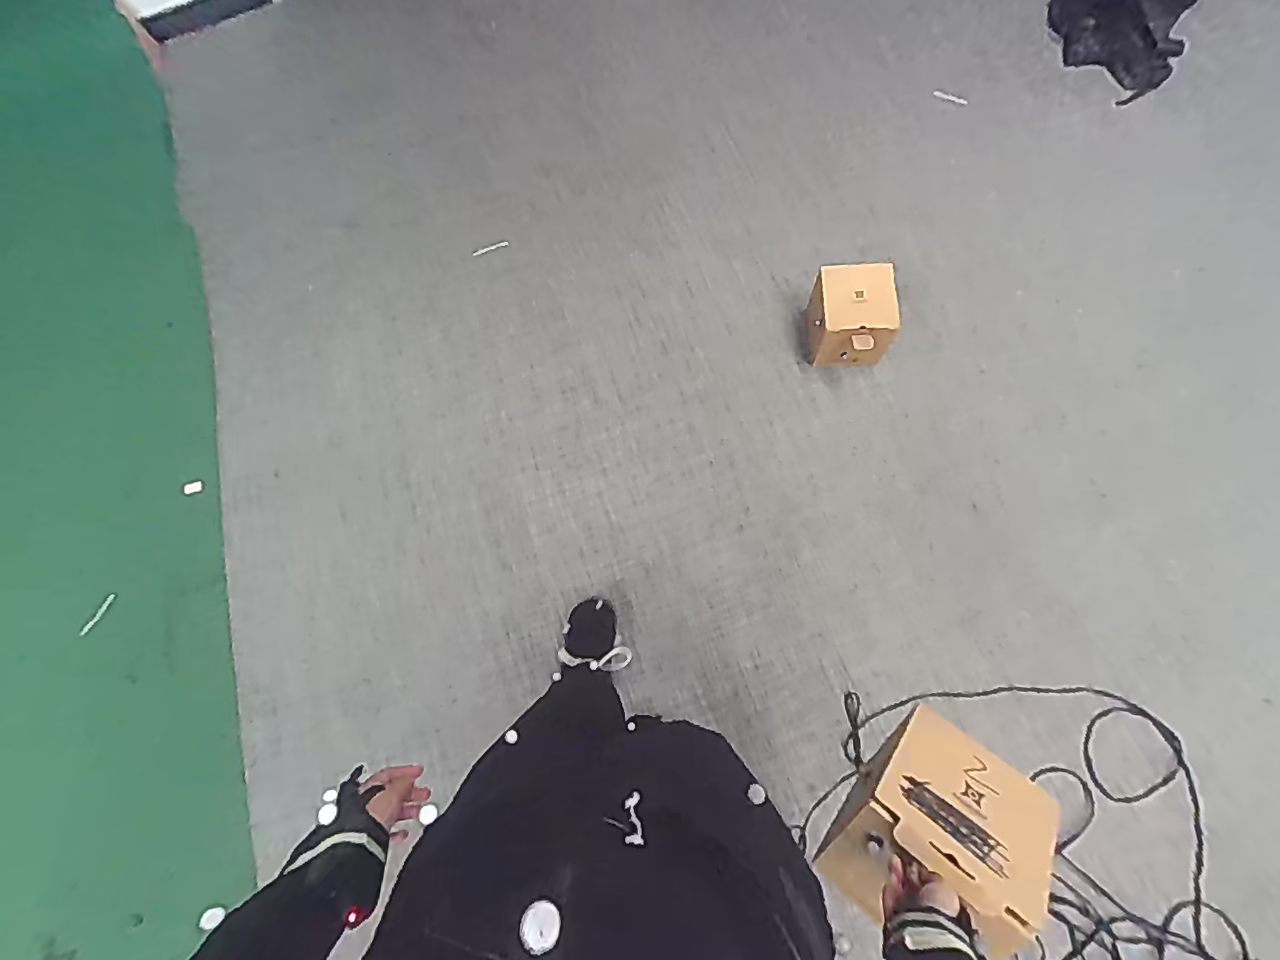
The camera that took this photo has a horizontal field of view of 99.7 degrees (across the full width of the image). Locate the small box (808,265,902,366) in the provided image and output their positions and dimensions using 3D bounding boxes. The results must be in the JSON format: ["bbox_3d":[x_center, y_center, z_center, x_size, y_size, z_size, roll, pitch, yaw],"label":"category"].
[{"bbox_3d":[0.512,-0.394,1.312,0.168,0.176,0.179,0,73,5],"label":"small box"}]
